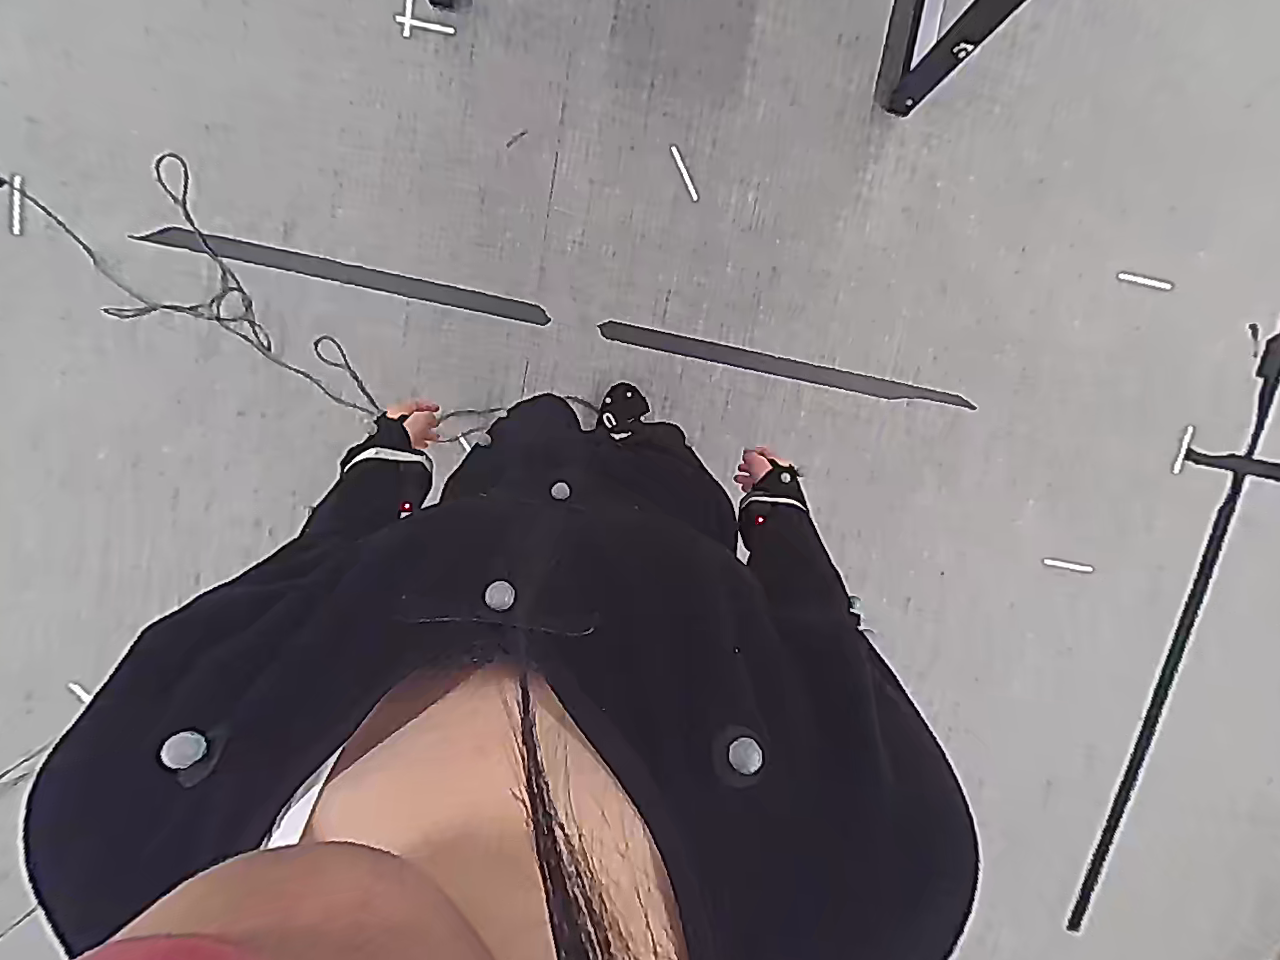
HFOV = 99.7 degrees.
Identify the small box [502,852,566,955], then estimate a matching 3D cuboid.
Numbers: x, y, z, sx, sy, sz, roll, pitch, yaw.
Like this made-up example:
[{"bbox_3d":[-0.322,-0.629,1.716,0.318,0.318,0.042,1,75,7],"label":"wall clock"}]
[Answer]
[{"bbox_3d":[-0.306,1.238,1.587,0.168,0.176,0.179,1,99,-4],"label":"small box"}]
